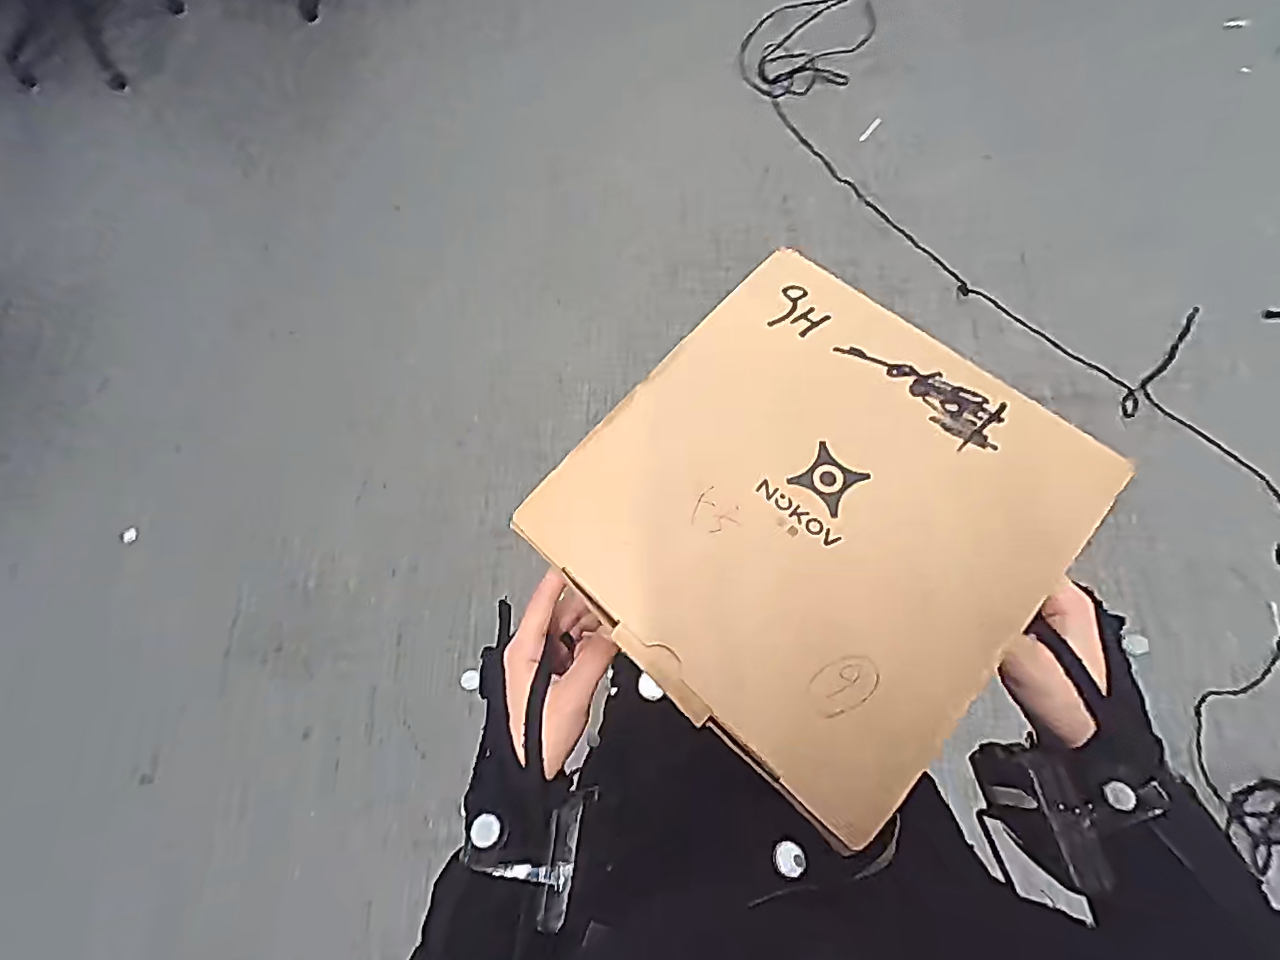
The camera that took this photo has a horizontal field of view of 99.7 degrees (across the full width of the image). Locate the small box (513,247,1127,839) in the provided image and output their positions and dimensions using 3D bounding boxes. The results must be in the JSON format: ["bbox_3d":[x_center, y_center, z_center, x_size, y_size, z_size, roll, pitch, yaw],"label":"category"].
[{"bbox_3d":[0.072,0.031,0.283,0.168,0.176,0.179,42,80,17],"label":"small box"}]
